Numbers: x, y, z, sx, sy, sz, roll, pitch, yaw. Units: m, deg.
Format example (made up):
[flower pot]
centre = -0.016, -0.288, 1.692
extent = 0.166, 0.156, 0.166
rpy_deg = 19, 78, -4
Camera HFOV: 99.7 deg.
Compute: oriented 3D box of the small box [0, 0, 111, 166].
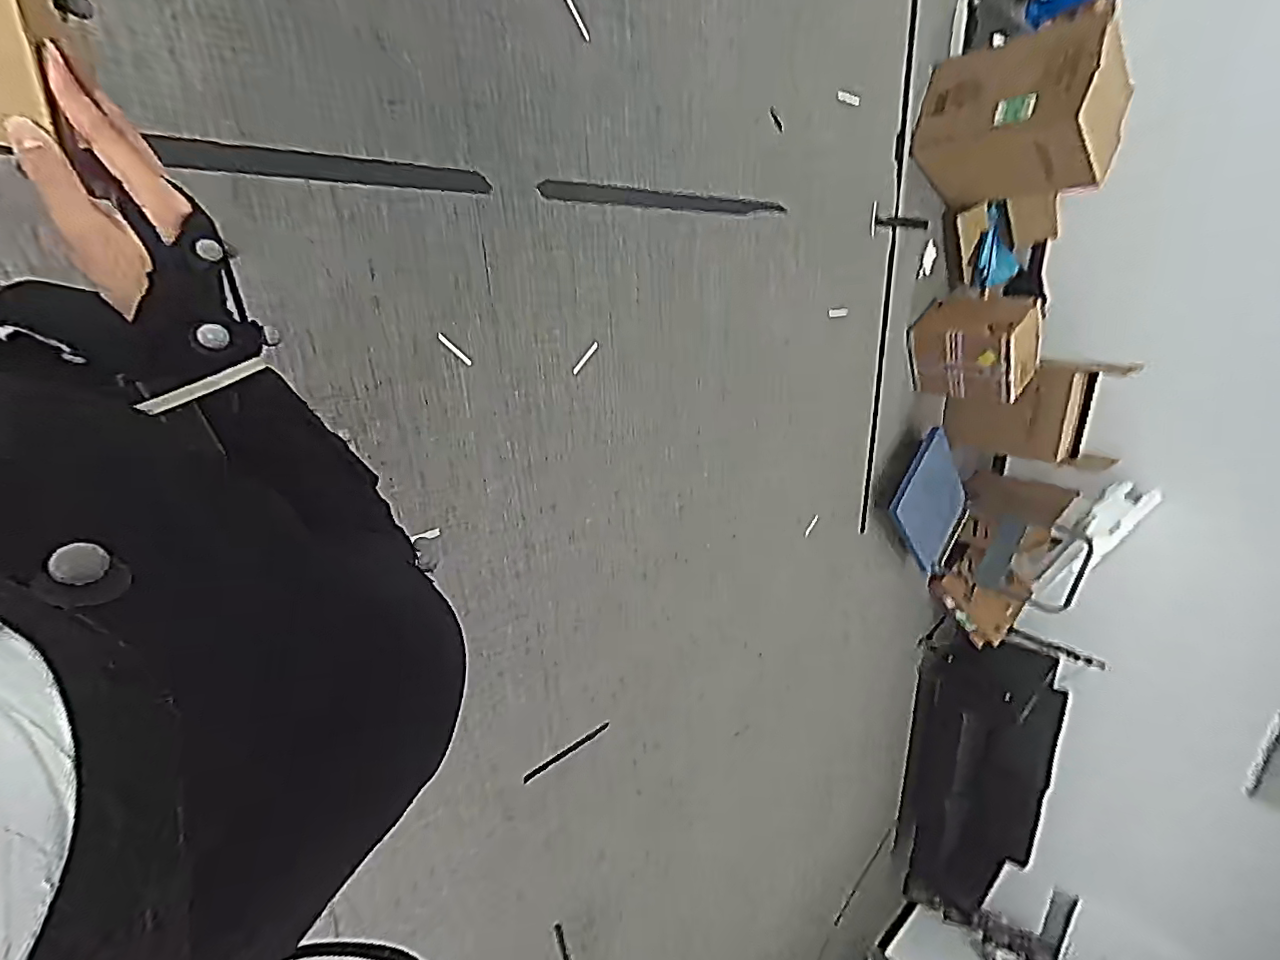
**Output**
[small box]
centre = -0.393, -0.265, 0.259
extent = 0.179, 0.176, 0.168
rpy_deg = -7, 120, -33
